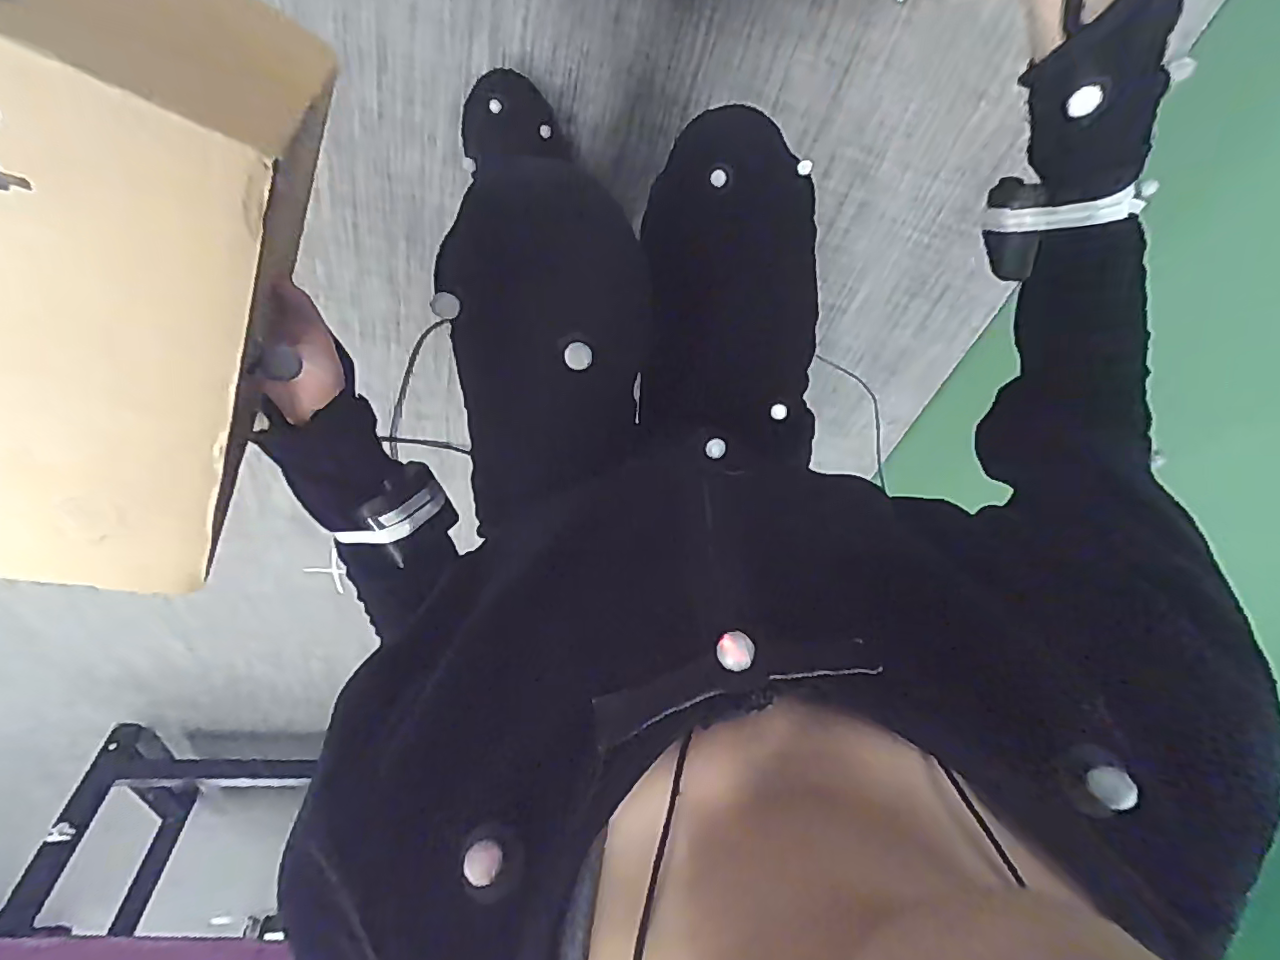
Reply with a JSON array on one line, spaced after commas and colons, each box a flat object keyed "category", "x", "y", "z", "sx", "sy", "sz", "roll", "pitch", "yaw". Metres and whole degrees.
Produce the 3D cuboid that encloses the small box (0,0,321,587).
[{"category": "small box", "x": -0.214, "y": -0.092, "z": 0.168, "sx": 0.168, "sy": 0.176, "sz": 0.179, "roll": 14, "pitch": 127, "yaw": -35}]
